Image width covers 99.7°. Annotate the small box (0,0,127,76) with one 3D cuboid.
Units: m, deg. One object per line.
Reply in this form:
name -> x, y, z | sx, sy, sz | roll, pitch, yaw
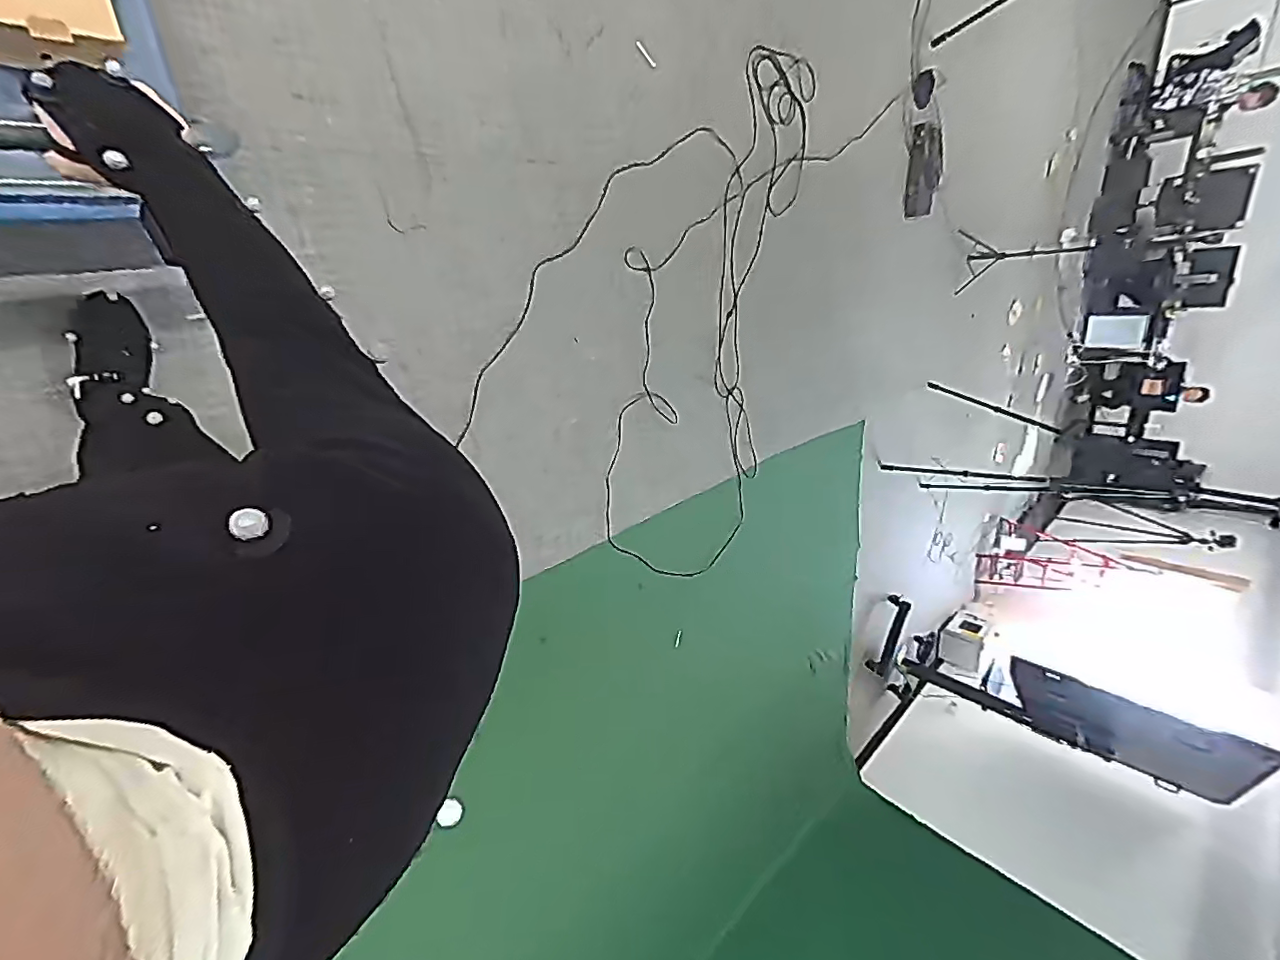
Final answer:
small box -> -0.908, -0.744, 0.806 | 0.168, 0.176, 0.179 | -22, 117, -37
